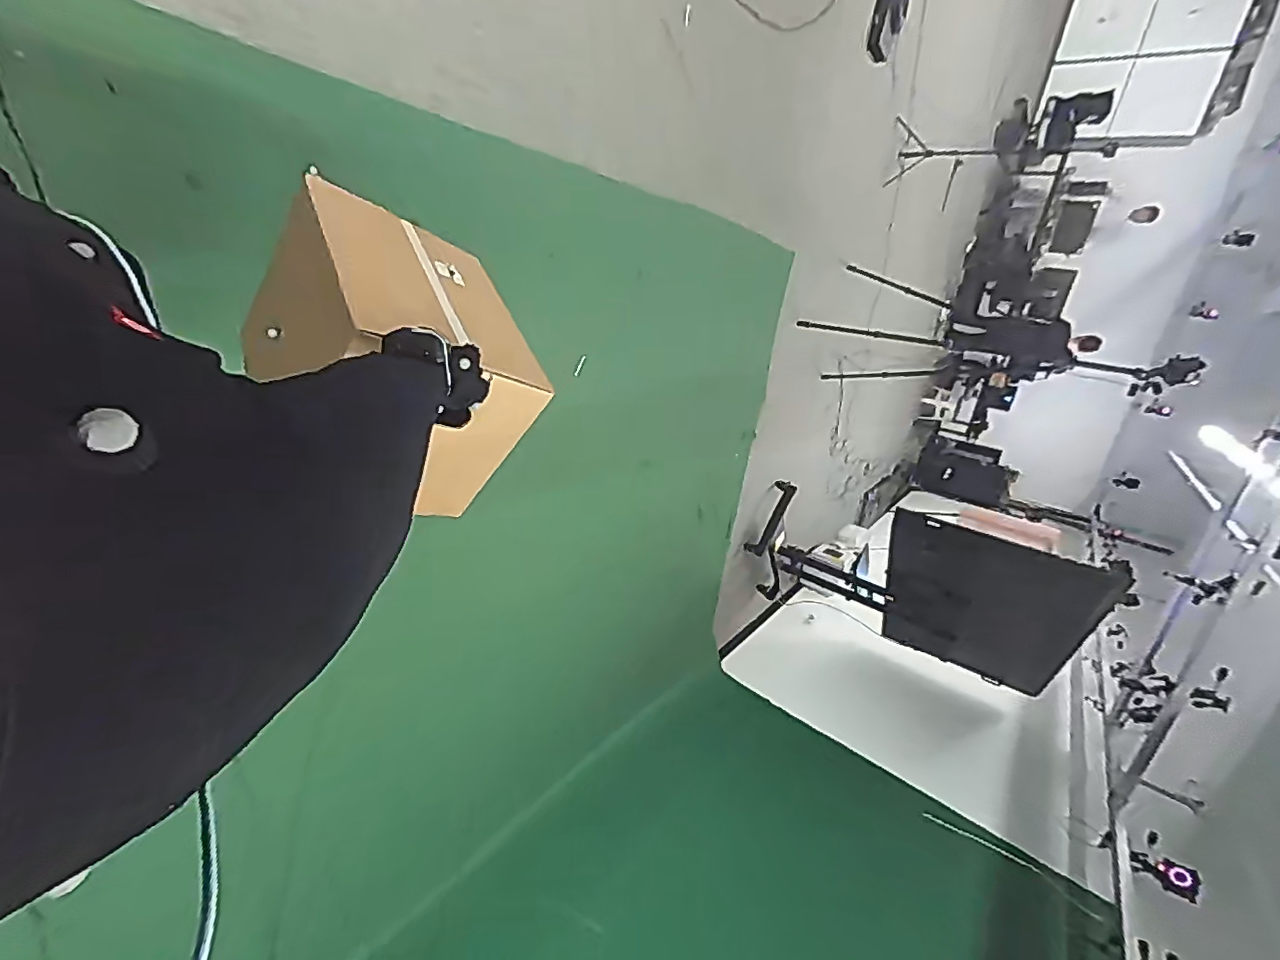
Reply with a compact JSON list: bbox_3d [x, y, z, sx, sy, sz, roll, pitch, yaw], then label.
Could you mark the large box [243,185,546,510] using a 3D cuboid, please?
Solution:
[{"bbox_3d":[-0.432,-0.198,0.921,0.320,0.408,0.320,-46,148,23],"label":"large box"}]
